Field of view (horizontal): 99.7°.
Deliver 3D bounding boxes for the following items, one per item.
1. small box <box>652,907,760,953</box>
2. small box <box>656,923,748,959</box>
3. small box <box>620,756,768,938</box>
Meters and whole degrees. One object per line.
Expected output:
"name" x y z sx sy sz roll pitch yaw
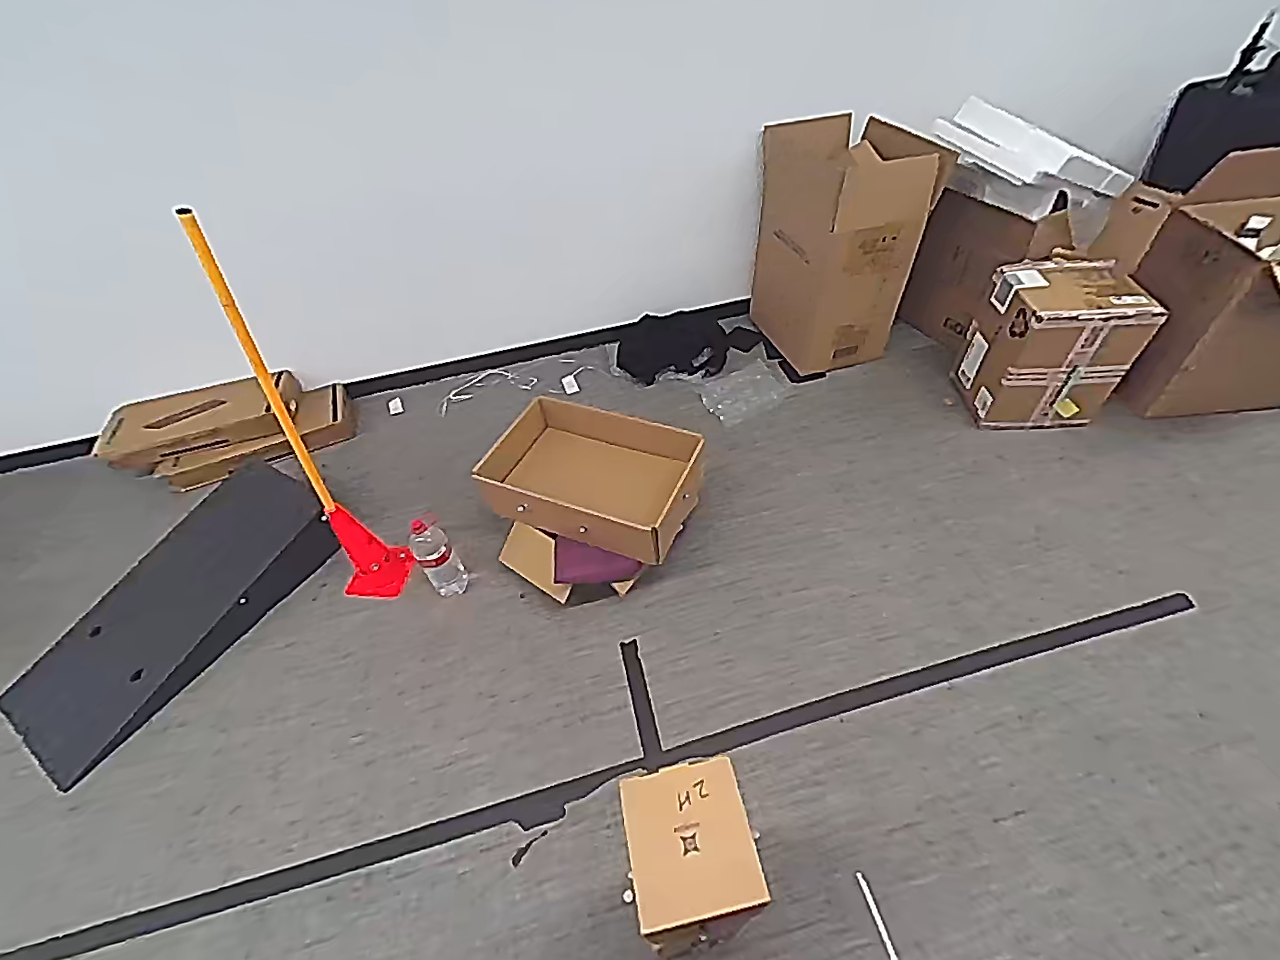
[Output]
"small box" 0.082 0.643 0.893 0.168 0.176 0.179 -15 47 -7
"small box" 0.091 0.758 1.012 0.168 0.176 0.179 -15 46 -7
"small box" 0.072 0.529 0.775 0.168 0.176 0.179 -11 46 -5
